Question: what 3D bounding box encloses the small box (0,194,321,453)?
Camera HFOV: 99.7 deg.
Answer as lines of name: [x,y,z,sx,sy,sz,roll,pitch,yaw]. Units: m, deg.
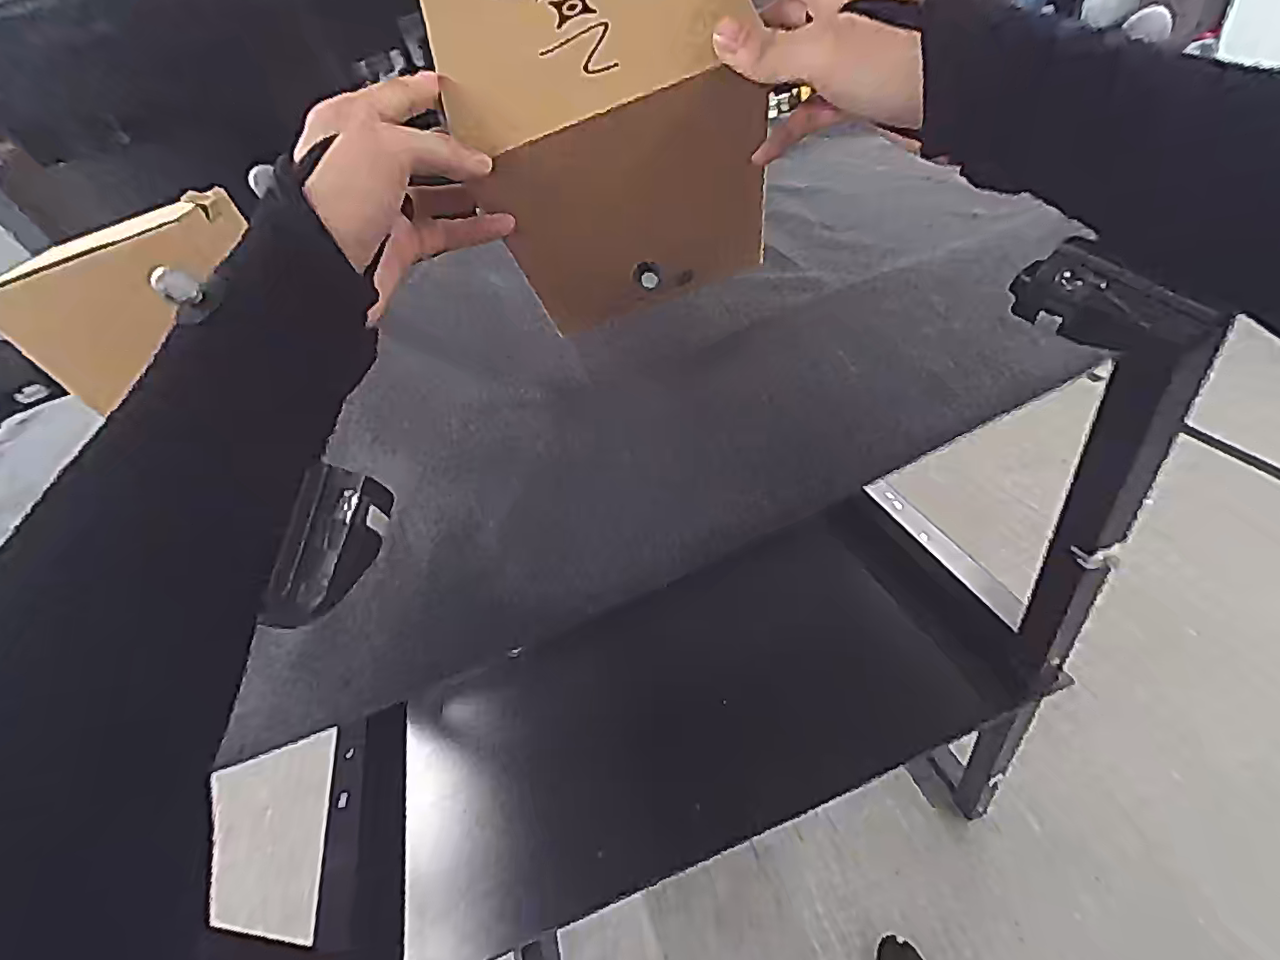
small box: [-0.457,-0.159,0.547,0.179,0.176,0.168,-25,41,-7]
